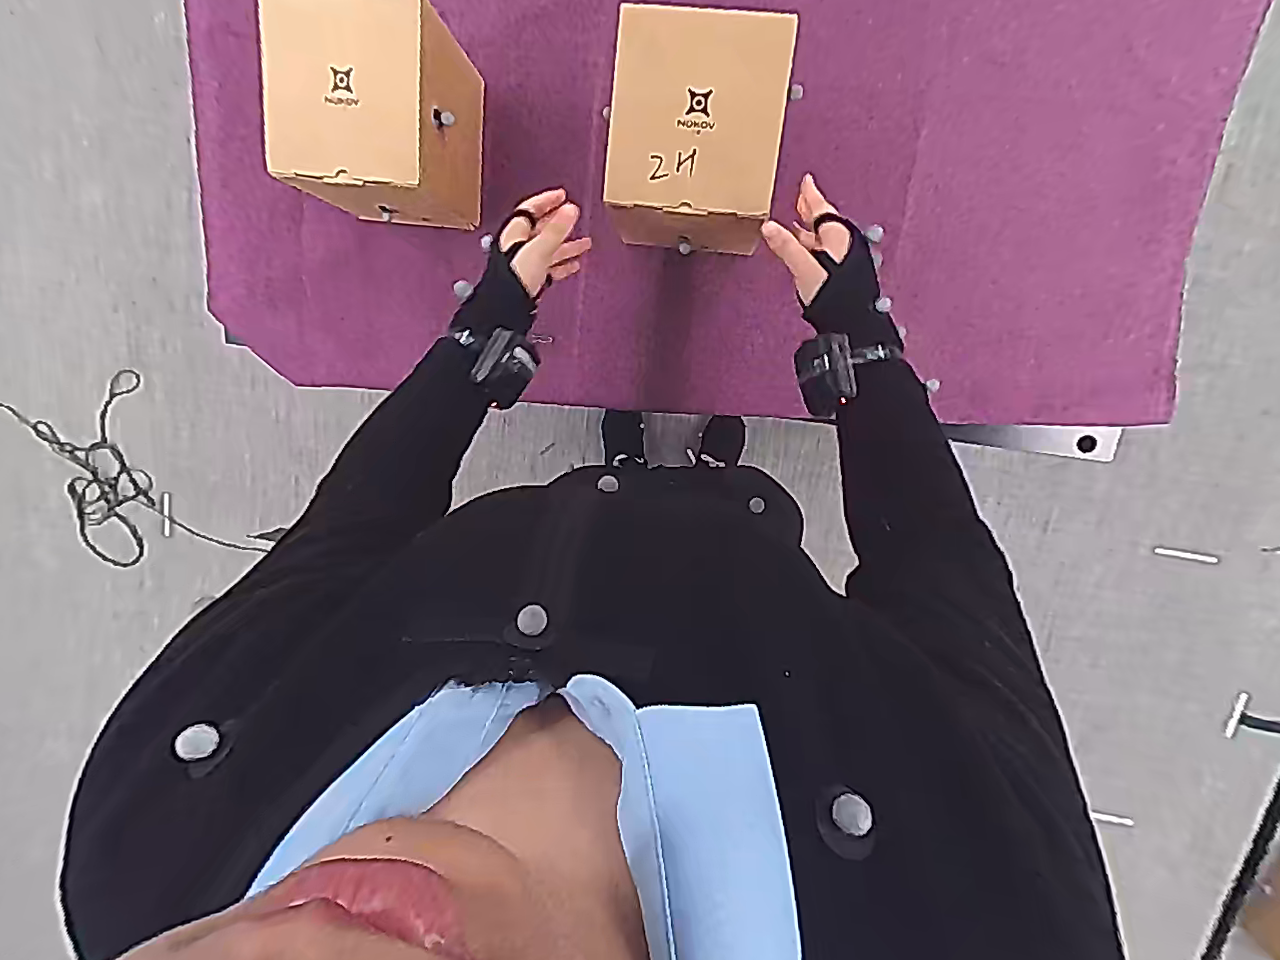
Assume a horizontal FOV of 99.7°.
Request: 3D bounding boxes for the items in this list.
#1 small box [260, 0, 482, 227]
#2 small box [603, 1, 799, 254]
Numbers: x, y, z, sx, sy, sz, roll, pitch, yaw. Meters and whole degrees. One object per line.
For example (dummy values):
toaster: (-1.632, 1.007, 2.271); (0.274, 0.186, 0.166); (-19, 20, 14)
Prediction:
small box: (-0.289, -0.407, 0.613); (0.168, 0.176, 0.179); (6, 103, 3)
small box: (0.061, -0.362, 0.588); (0.168, 0.176, 0.179); (8, 102, 5)
